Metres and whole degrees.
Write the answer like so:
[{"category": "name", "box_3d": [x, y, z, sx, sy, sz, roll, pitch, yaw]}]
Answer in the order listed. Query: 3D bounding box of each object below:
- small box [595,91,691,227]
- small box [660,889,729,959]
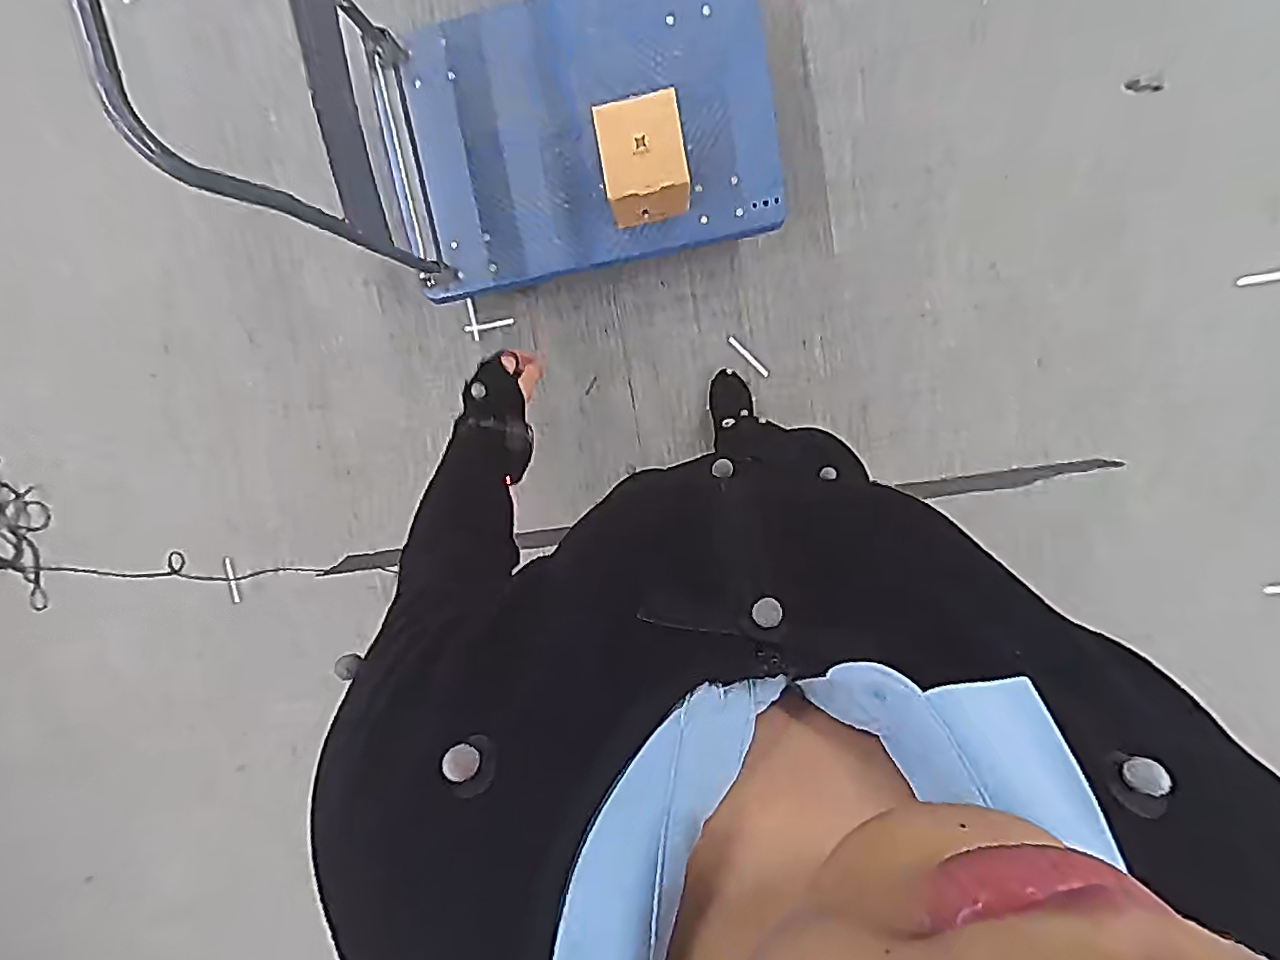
[{"category": "small box", "box_3d": [0.010, -0.660, 1.130, 0.168, 0.176, 0.179, -10, 97, 5]}, {"category": "small box", "box_3d": [0.141, 1.201, 1.388, 0.168, 0.176, 0.179, -4, 97, 3]}]
